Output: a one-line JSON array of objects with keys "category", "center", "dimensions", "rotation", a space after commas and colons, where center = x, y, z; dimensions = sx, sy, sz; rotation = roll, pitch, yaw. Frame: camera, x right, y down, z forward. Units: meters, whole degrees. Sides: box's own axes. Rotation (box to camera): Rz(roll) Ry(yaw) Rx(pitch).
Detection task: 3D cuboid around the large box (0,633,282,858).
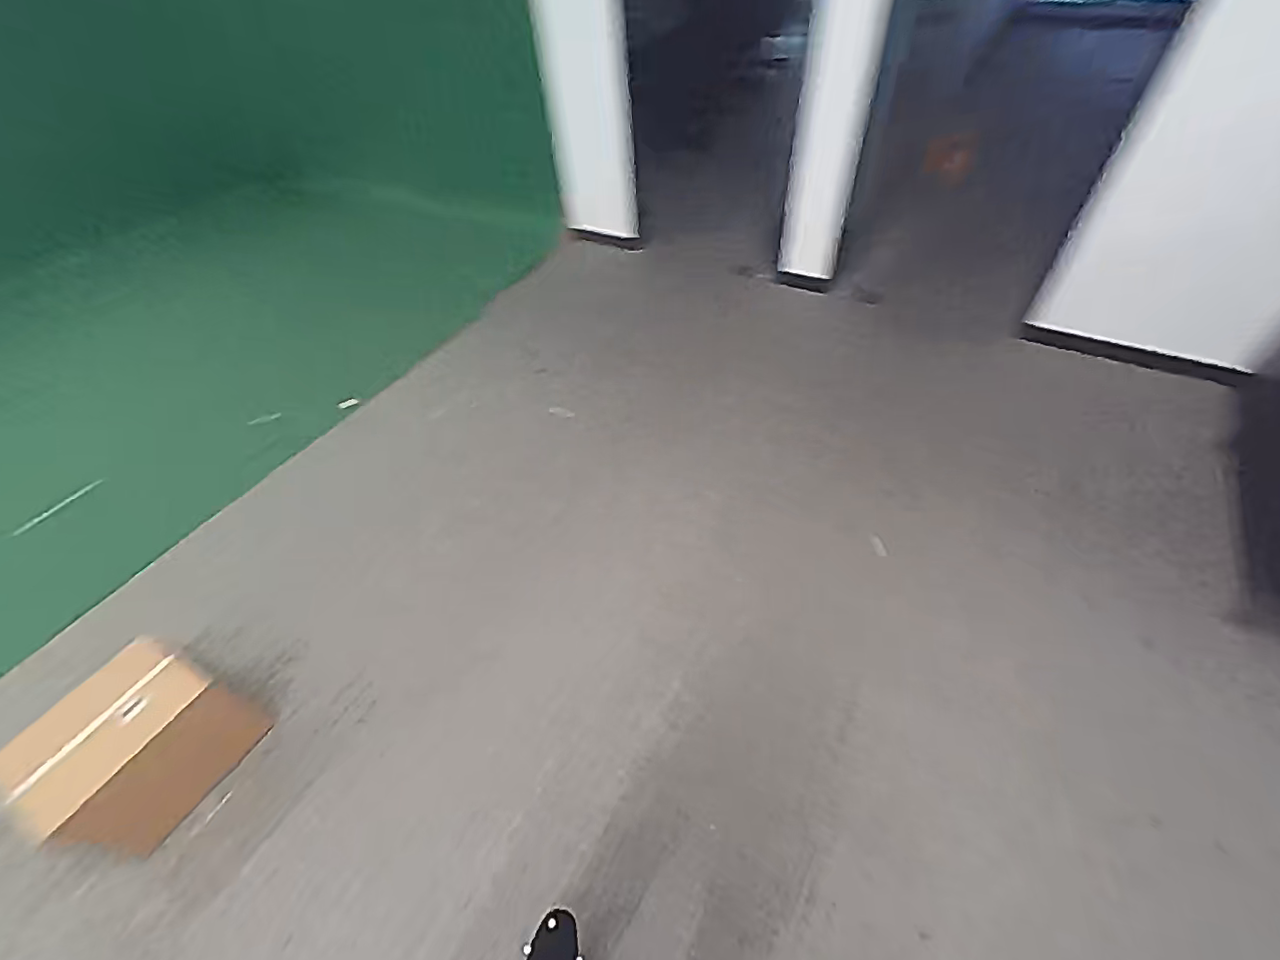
[{"category": "large box", "center": [-1.310, 0.712, 1.465], "dimensions": [0.320, 0.320, 0.408], "rotation": [21, 53, 21]}]
